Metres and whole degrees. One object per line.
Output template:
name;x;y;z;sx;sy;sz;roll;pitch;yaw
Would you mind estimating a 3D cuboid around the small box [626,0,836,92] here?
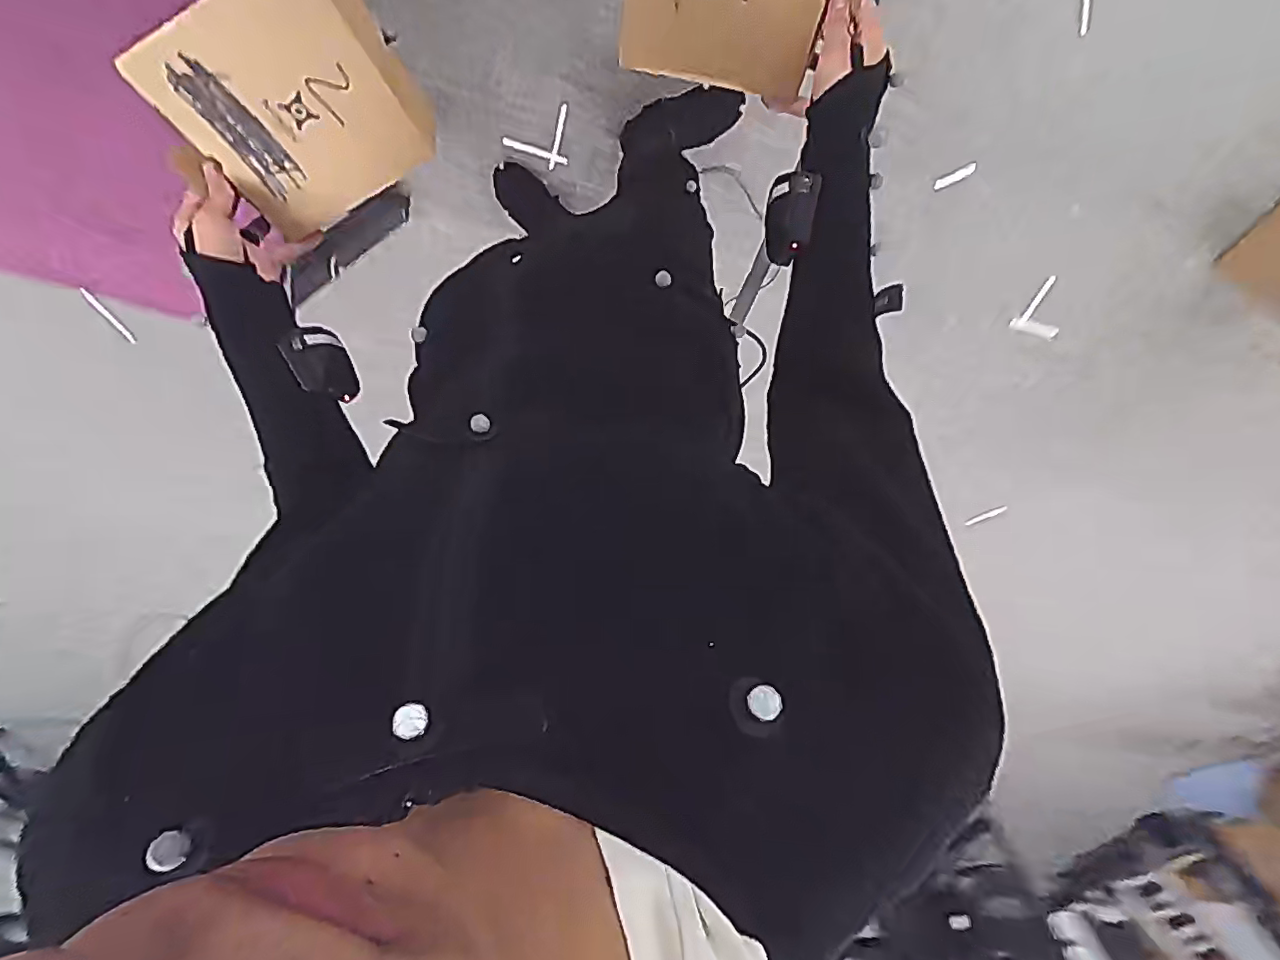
small box;0.086;-0.492;0.493;0.179;0.176;0.168;6;140;-8
